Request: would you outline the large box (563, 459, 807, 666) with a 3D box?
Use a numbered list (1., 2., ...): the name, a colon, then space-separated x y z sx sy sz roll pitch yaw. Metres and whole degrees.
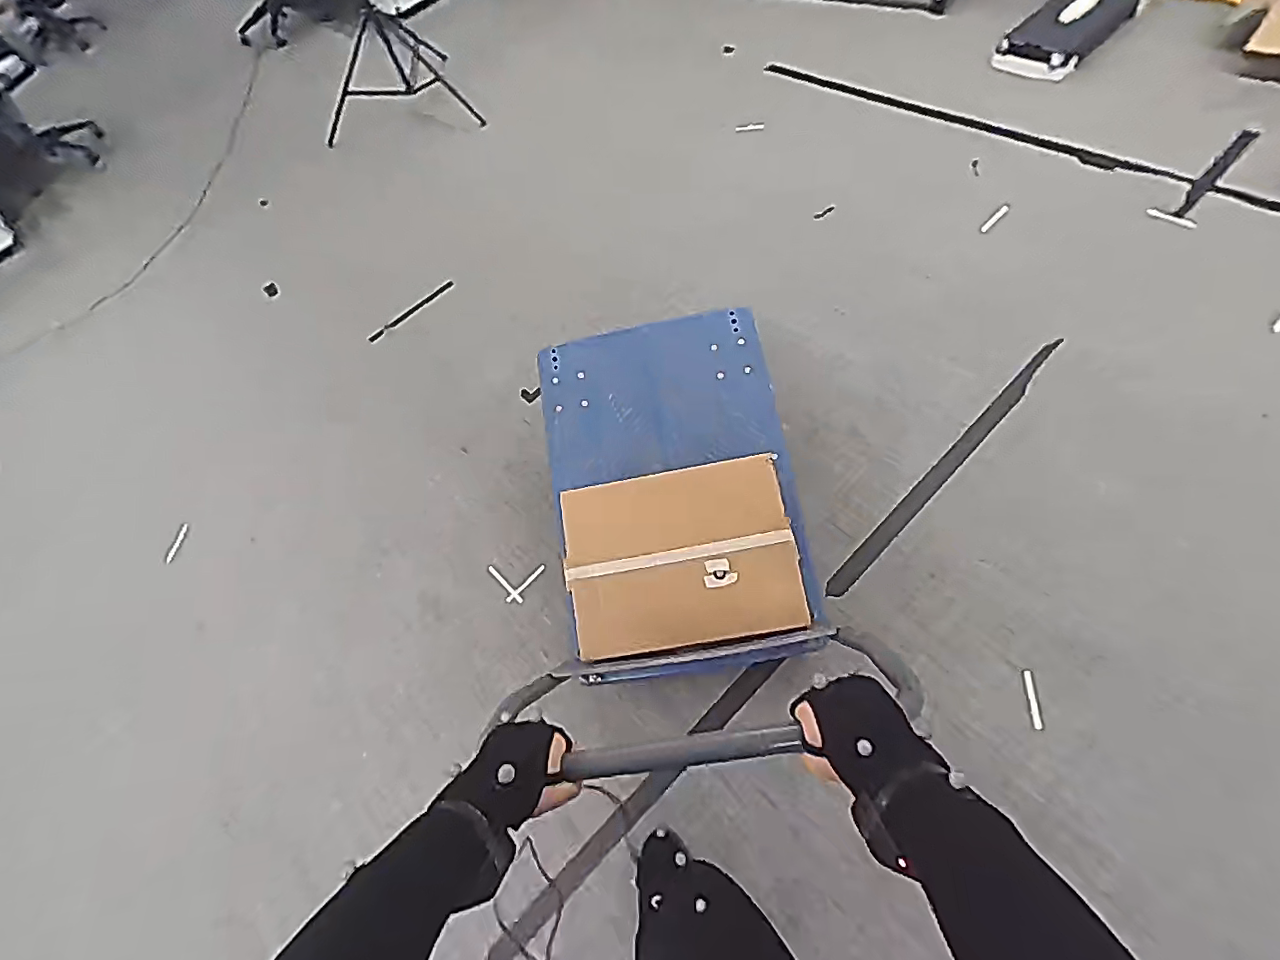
1. large box: 0.086 0.184 1.128 0.408 0.320 0.320 -12 75 4
